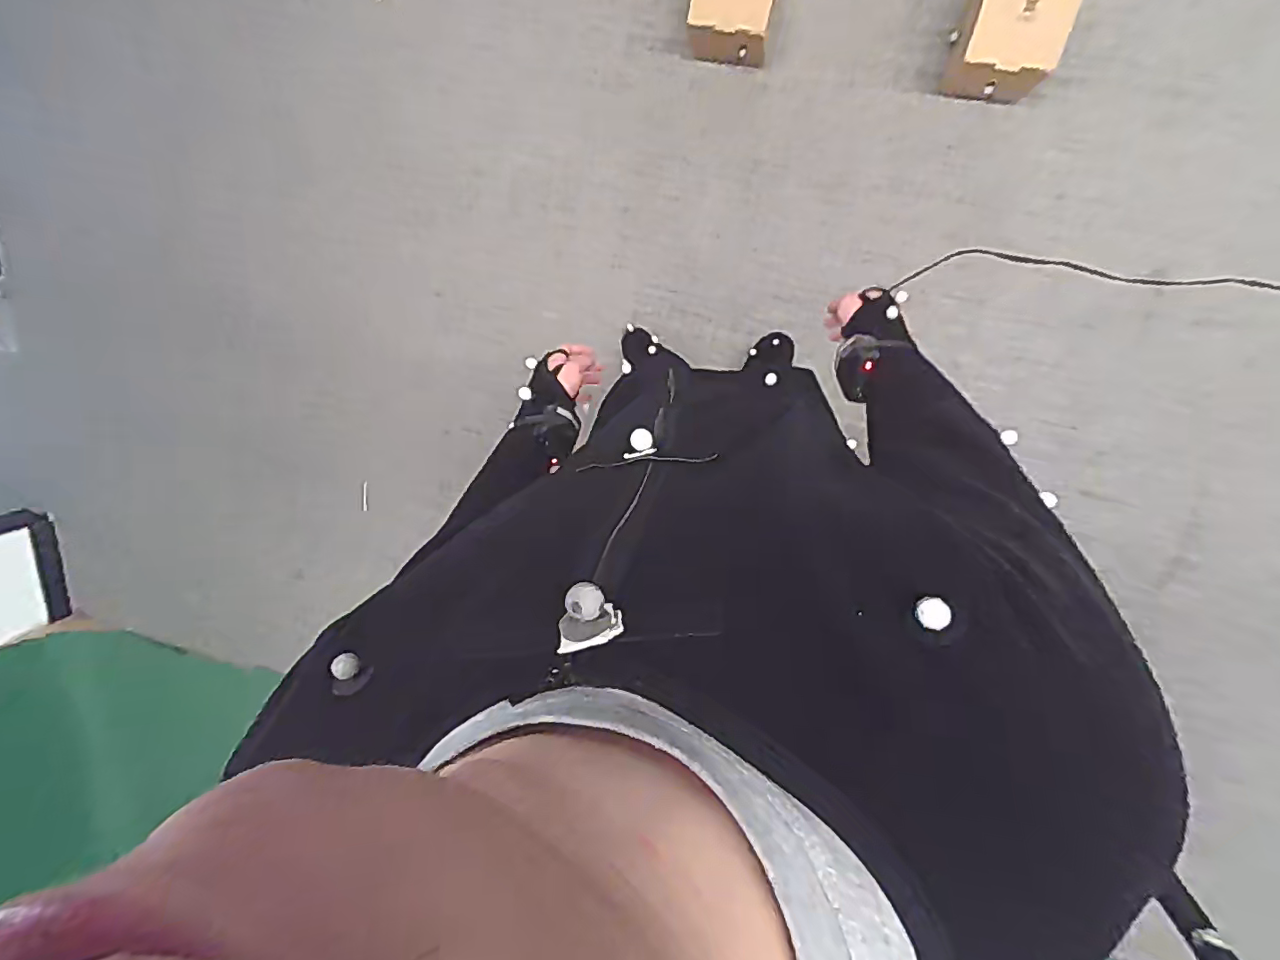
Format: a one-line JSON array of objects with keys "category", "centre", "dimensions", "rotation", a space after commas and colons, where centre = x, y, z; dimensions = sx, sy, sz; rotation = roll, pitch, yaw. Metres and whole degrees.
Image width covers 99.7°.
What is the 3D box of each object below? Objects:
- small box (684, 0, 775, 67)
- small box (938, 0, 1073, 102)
[{"category": "small box", "centre": [0.201, -1.028, 1.162], "dimensions": [0.168, 0.176, 0.179], "rotation": [13, 108, 7]}, {"category": "small box", "centre": [0.725, -0.892, 1.084], "dimensions": [0.168, 0.176, 0.179], "rotation": [15, 110, 8]}]
